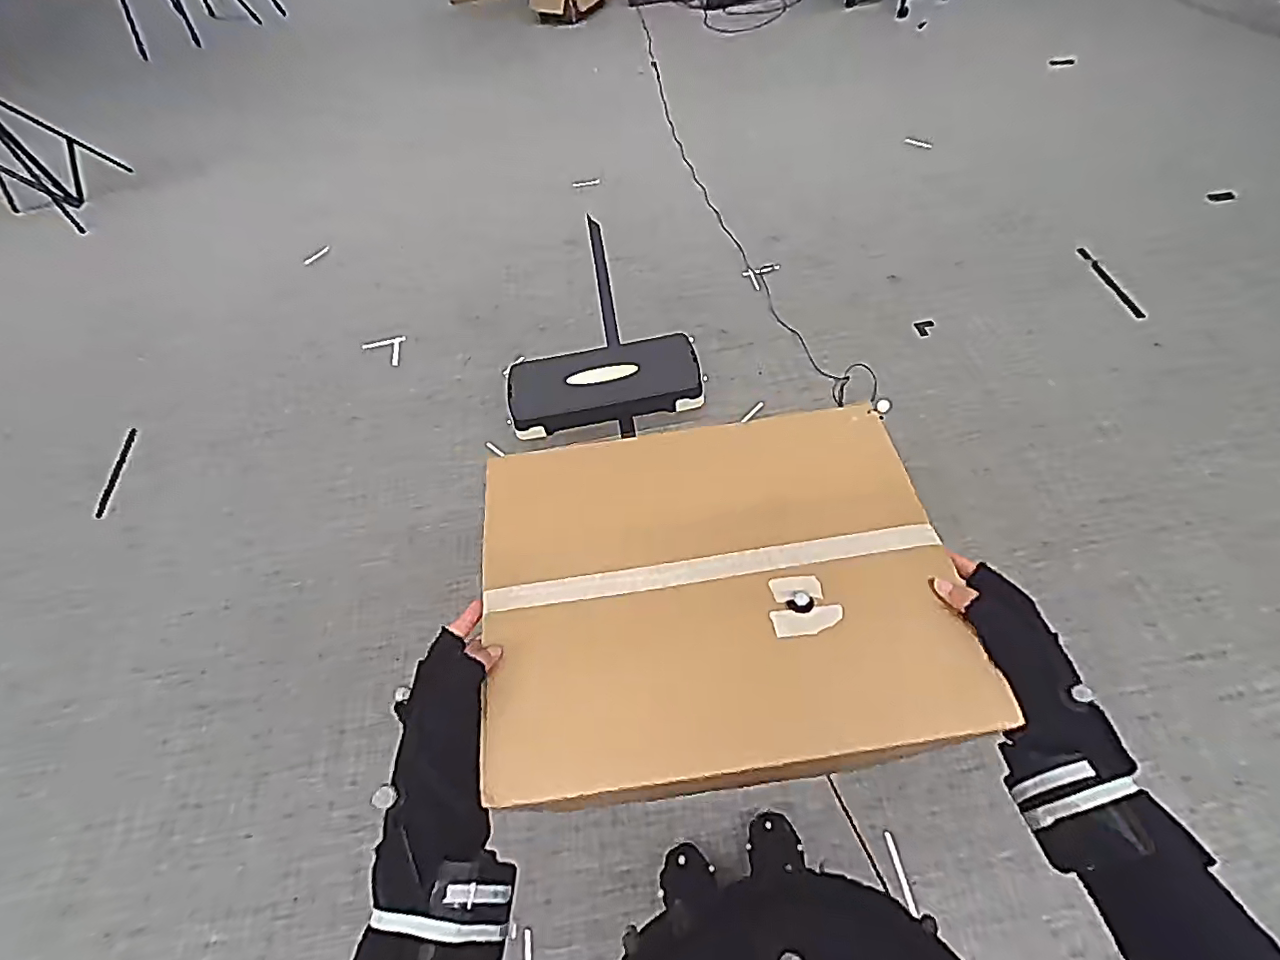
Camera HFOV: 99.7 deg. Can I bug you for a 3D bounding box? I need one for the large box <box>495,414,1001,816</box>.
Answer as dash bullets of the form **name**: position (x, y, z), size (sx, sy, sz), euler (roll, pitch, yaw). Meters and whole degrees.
- **large box**: position (0.073, 0.167, 0.616), size (0.408, 0.320, 0.320), euler (-9, 57, -1)
